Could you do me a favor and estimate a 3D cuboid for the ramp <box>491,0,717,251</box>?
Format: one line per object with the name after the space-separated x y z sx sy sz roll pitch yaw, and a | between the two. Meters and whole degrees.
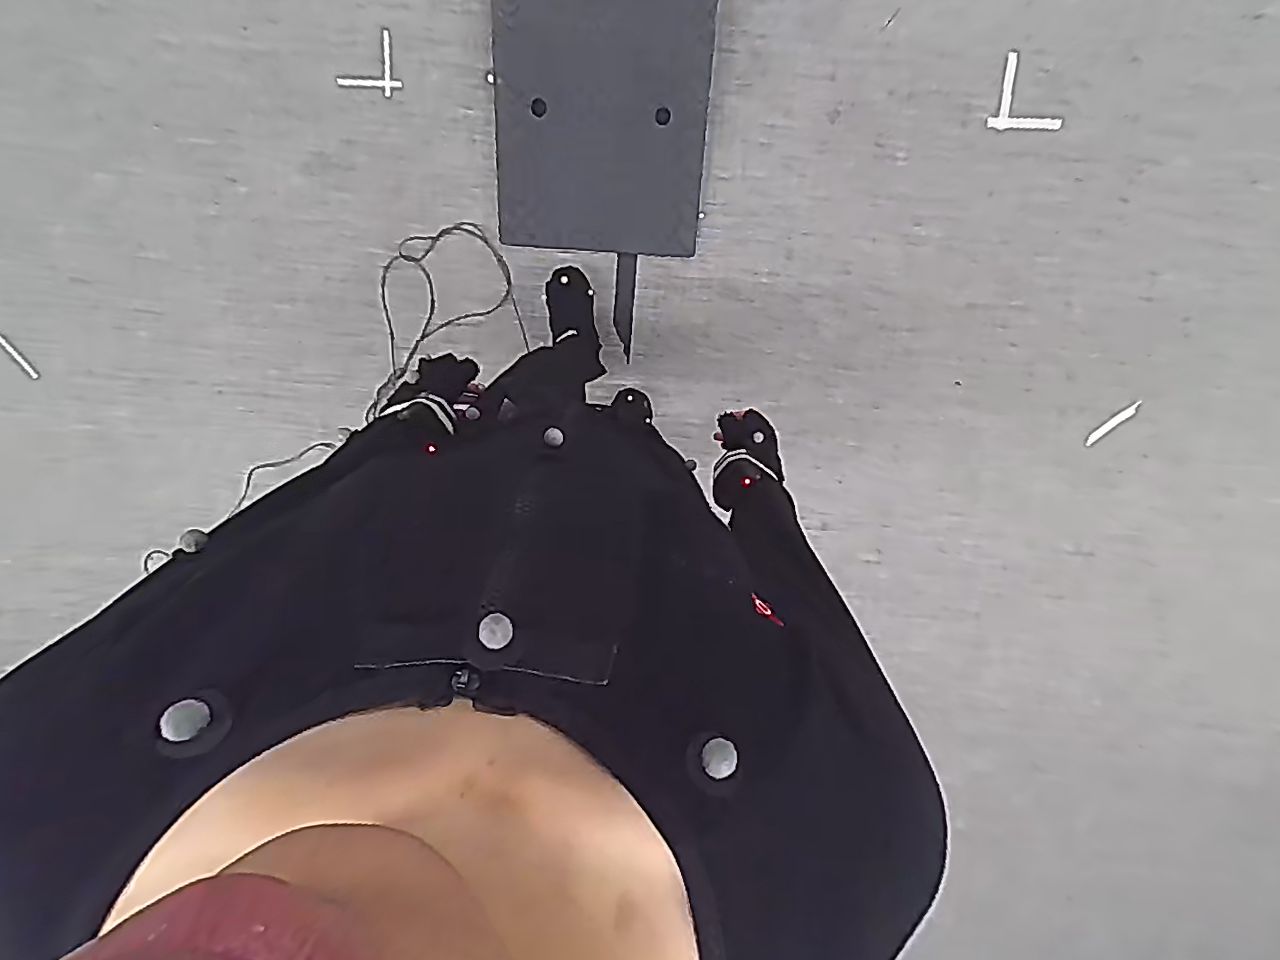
-0.074 -1.046 1.160 0.509 0.206 0.991 2 103 -1 | ramp
